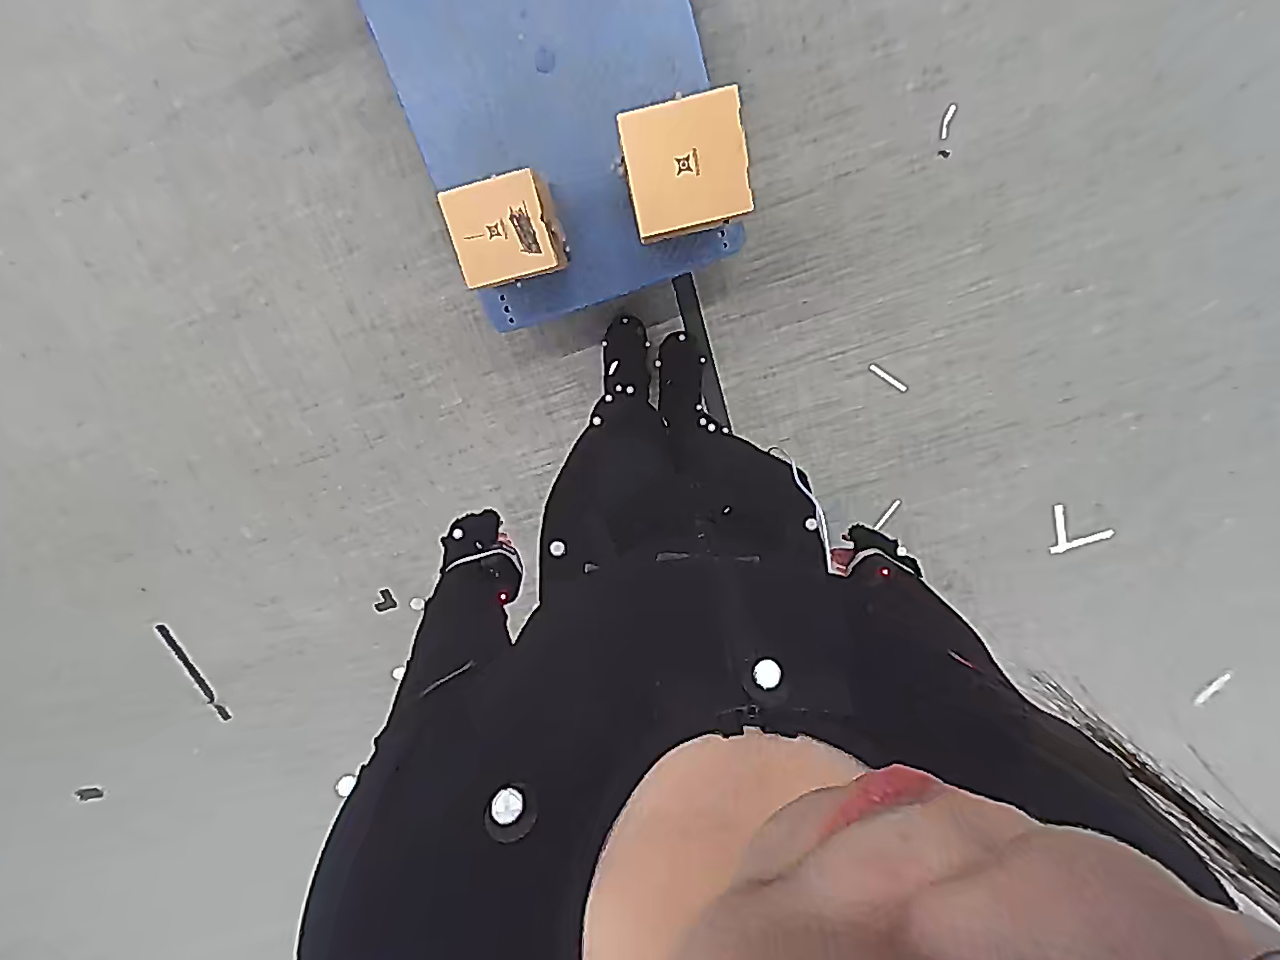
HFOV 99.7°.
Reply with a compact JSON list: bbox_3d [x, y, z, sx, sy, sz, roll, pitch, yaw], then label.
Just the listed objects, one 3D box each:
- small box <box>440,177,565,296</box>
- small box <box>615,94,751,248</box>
[{"bbox_3d":[-0.252,-0.464,1.045,0.179,0.176,0.168,-13,110,6],"label":"small box"},{"bbox_3d":[0.066,-0.478,0.865,0.179,0.176,0.168,-12,110,4],"label":"small box"}]
